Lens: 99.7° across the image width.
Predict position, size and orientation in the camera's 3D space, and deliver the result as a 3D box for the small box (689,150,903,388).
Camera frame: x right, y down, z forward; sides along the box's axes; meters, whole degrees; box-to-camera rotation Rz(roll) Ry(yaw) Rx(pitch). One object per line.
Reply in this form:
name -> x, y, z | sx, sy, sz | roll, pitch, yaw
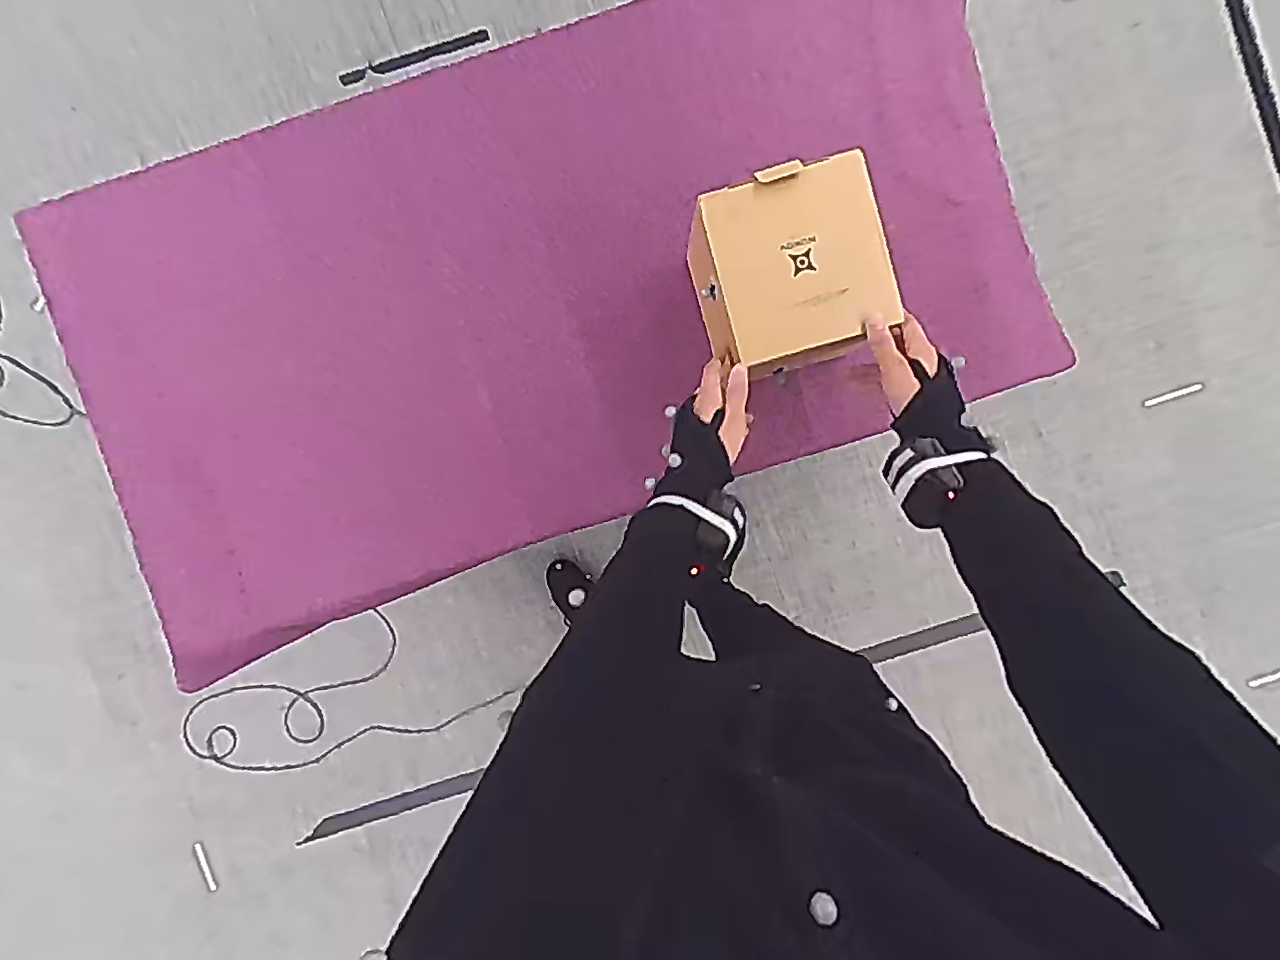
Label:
small box -> 0.155, -0.215, 0.598 | 0.168, 0.176, 0.179 | -15, 92, 2
